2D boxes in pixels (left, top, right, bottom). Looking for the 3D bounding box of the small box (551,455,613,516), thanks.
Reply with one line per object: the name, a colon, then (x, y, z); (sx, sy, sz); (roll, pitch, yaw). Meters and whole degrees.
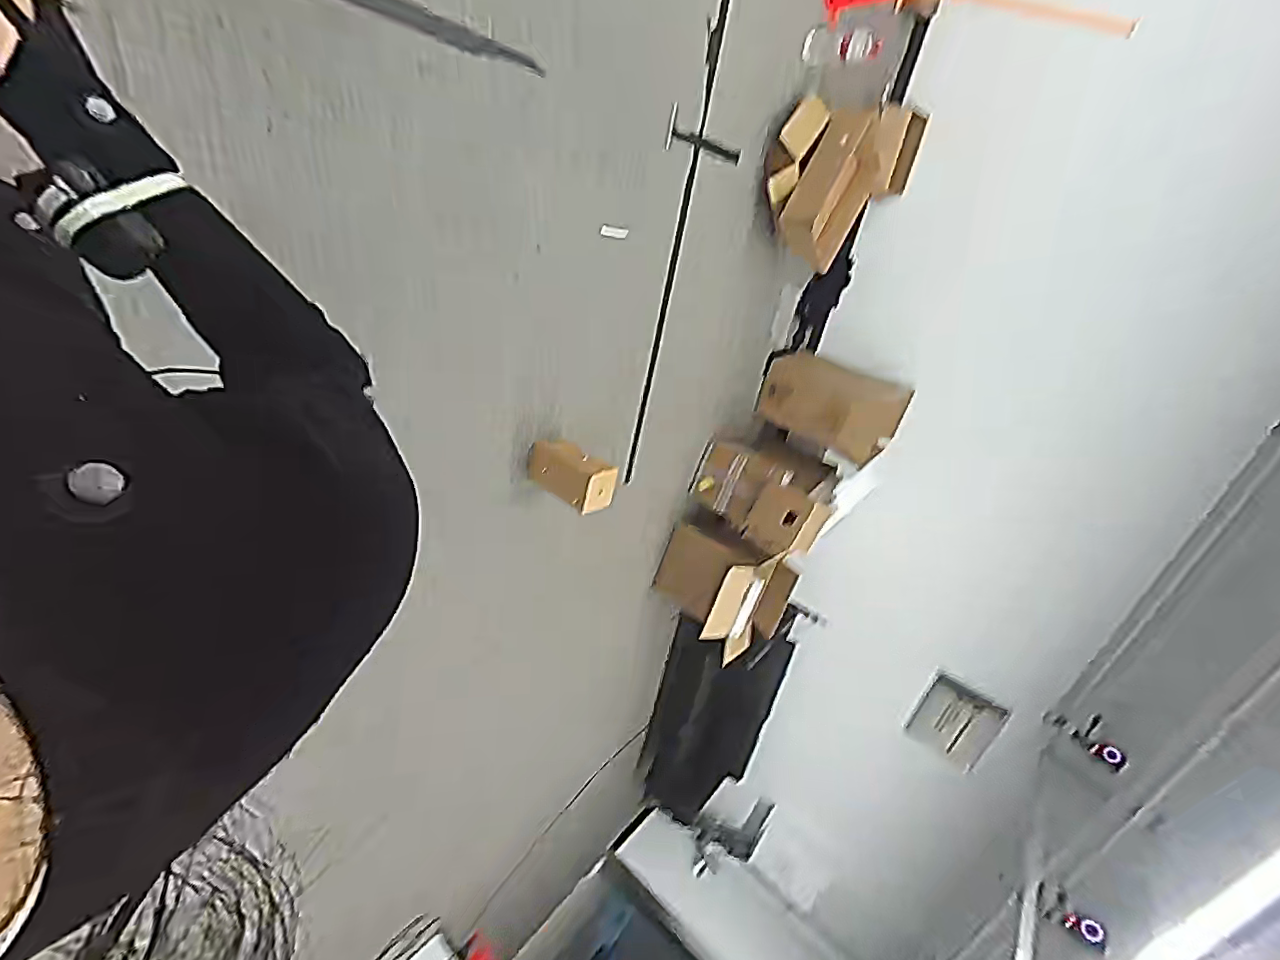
small box: (-0.241, 0.018, 2.184); (0.168, 0.176, 0.179); (-18, 129, -51)
